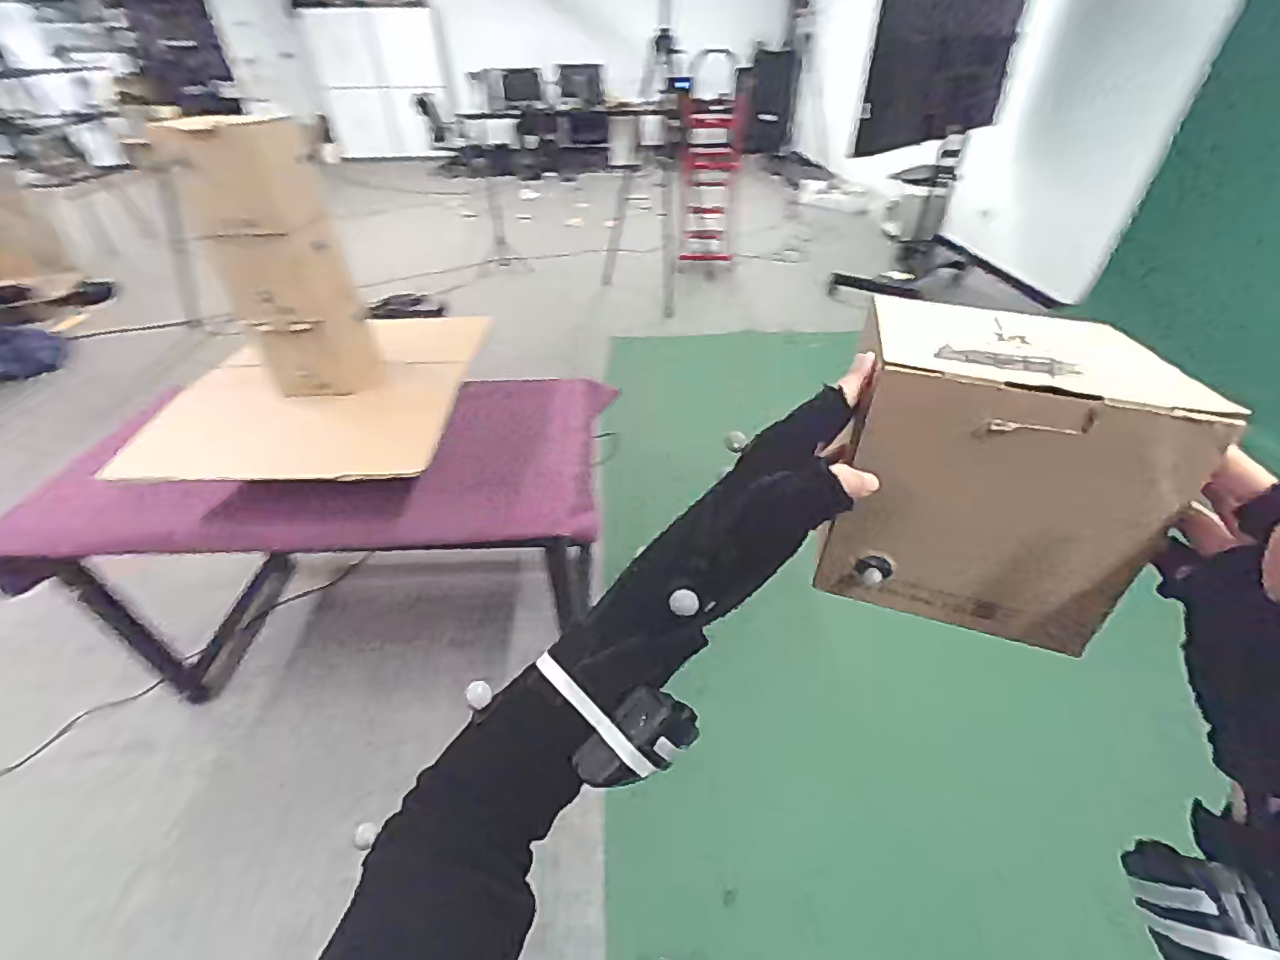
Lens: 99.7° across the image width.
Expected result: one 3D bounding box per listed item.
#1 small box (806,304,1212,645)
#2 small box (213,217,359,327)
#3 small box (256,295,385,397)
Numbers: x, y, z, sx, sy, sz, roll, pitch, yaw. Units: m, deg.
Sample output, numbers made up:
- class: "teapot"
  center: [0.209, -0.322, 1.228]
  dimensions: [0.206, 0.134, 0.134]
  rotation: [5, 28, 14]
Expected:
- class: "small box"
  center: [0.221, -0.013, 0.387]
  dimensions: [0.168, 0.176, 0.179]
  rotation: [12, 33, 14]
- class: "small box"
  center: [-0.699, -0.423, 1.098]
  dimensions: [0.168, 0.176, 0.179]
  rotation: [-2, 39, -1]
- class: "small box"
  center: [-0.694, -0.299, 1.204]
  dimensions: [0.168, 0.176, 0.179]
  rotation: [-1, 38, 2]
